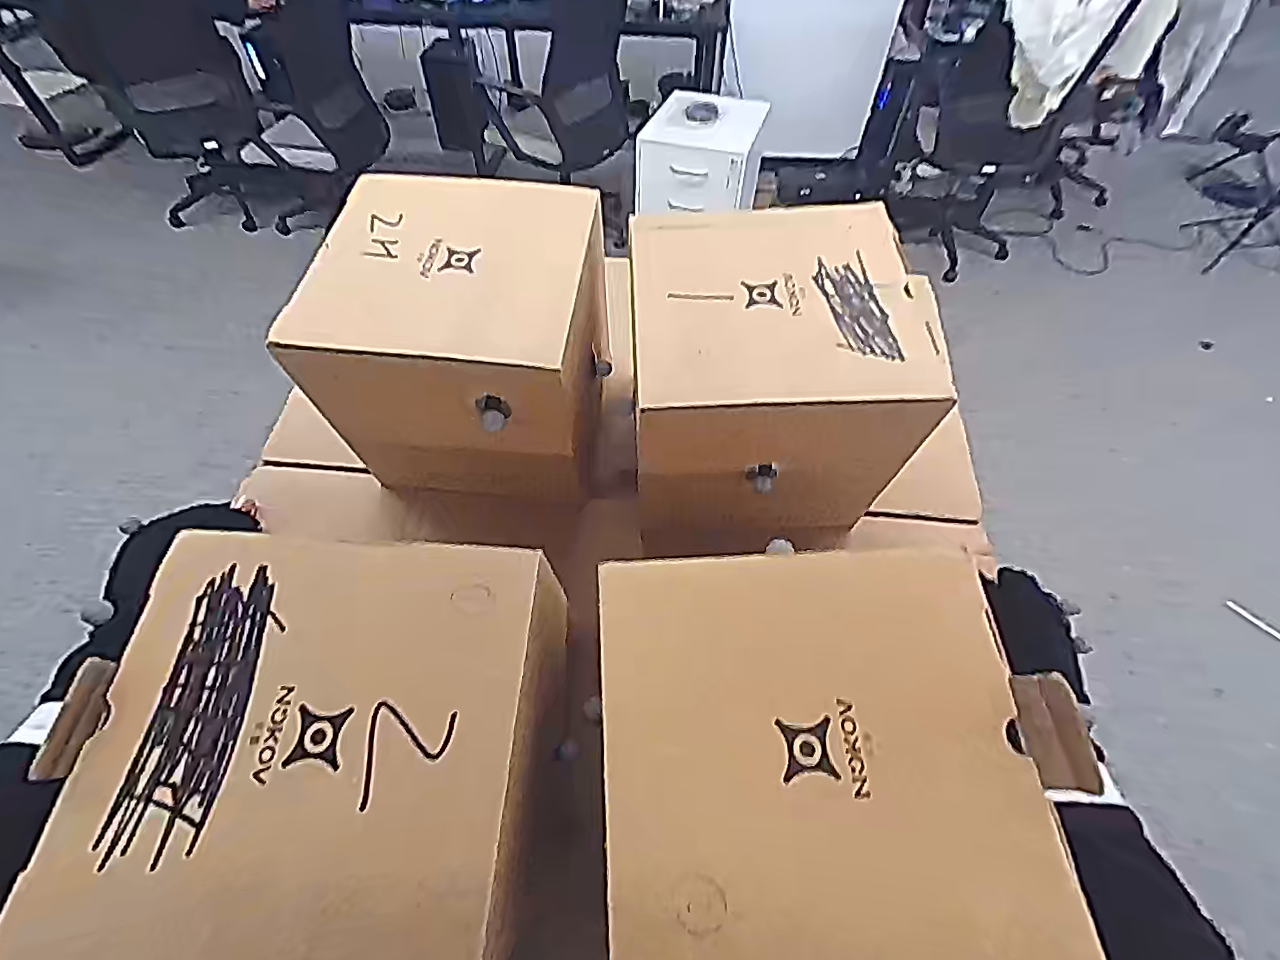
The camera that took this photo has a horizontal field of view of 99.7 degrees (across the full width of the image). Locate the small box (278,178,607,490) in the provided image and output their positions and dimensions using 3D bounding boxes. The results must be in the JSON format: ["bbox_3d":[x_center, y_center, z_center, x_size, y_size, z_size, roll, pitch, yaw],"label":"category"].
[{"bbox_3d":[-0.124,-0.105,0.429,0.179,0.176,0.168,6,60,4],"label":"small box"}]
